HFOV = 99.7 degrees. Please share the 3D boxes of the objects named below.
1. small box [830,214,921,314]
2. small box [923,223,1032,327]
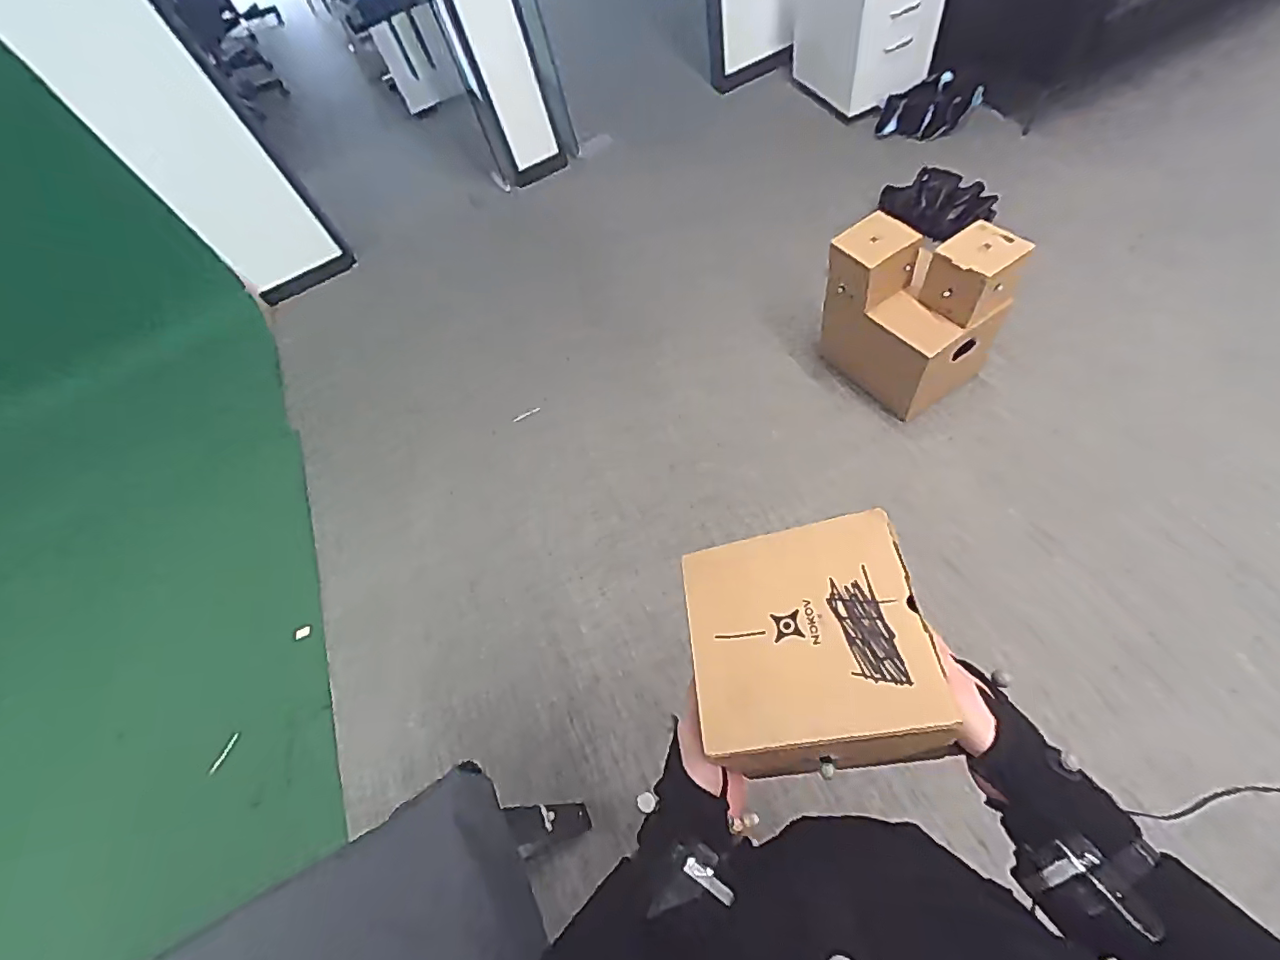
[{"bbox_3d":[0.669,-0.620,1.561,0.179,0.176,0.168,-35,58,-3],"label":"small box"},{"bbox_3d":[0.899,-0.550,1.464,0.179,0.176,0.168,-35,59,-9],"label":"small box"}]
